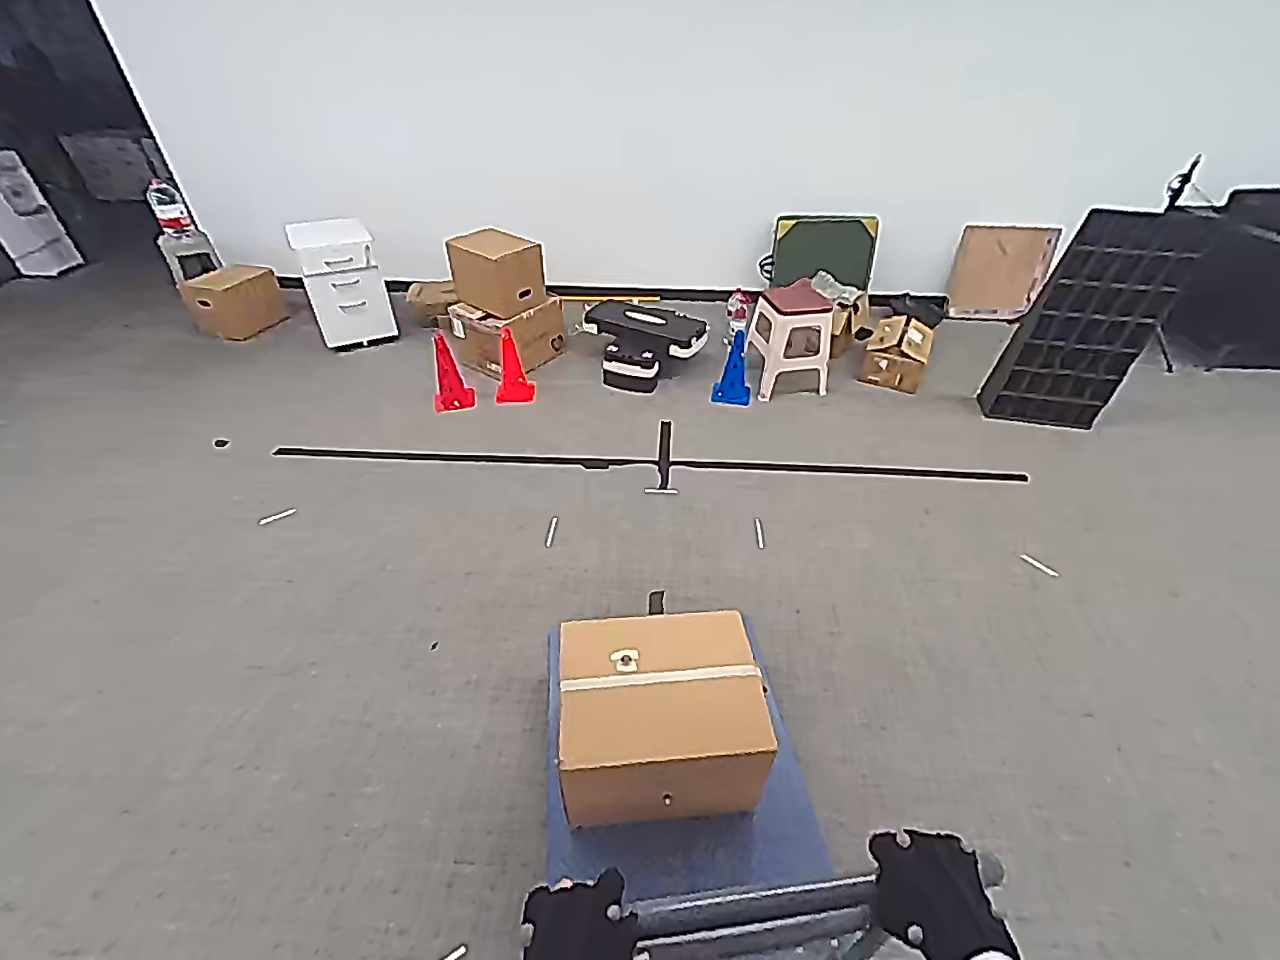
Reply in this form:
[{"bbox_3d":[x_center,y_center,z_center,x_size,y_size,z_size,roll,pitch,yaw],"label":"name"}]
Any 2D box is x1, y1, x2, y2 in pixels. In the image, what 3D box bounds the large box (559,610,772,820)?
[{"bbox_3d":[0.038,0.521,1.204,0.408,0.320,0.320,-4,41,-4],"label":"large box"}]
